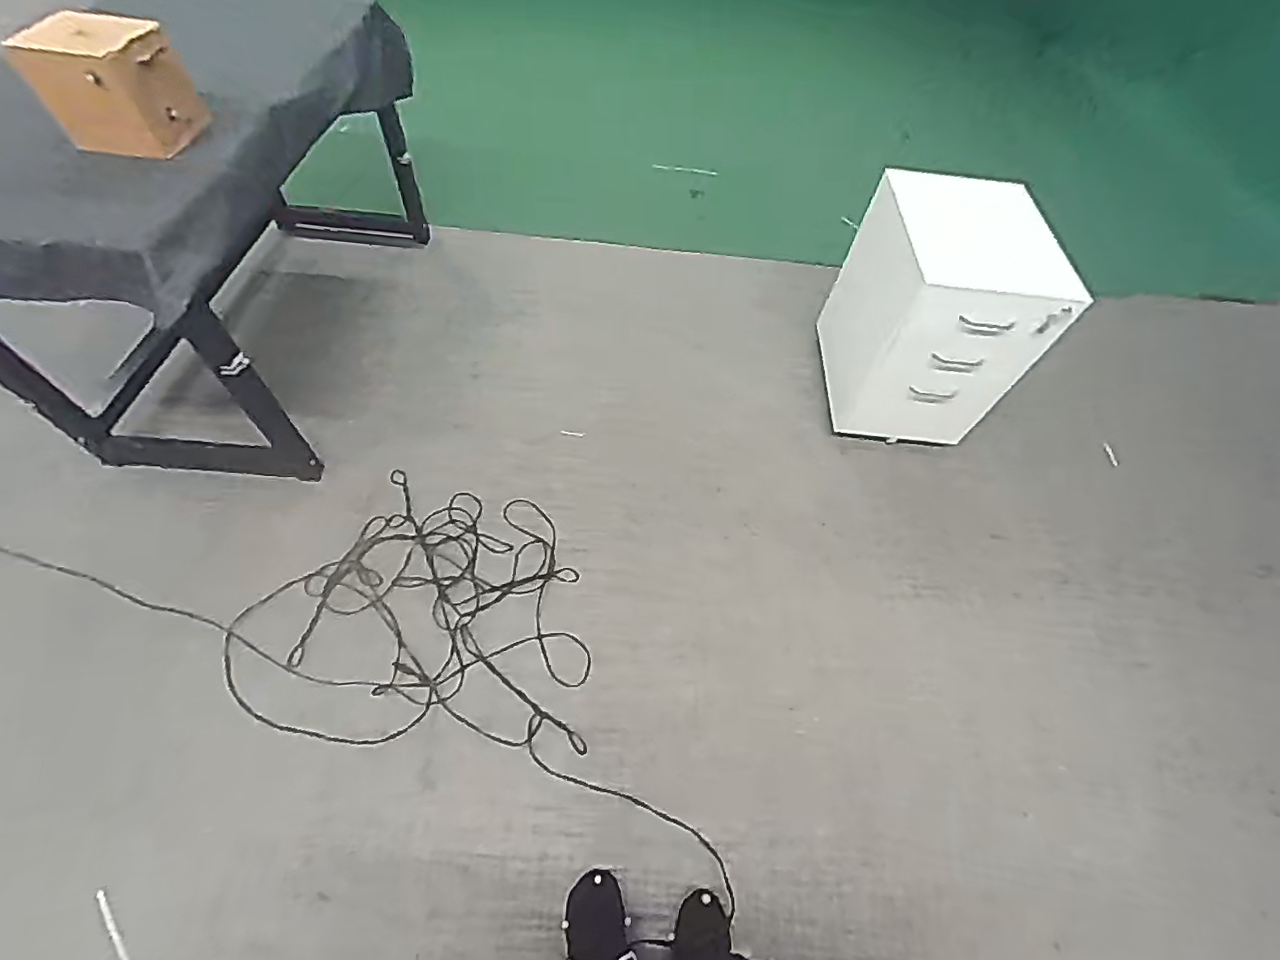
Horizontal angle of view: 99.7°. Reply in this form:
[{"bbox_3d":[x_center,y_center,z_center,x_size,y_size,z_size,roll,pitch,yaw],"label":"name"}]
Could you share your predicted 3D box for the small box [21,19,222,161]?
[{"bbox_3d":[-0.954,-0.730,1.018,0.179,0.176,0.168,6,55,-2],"label":"small box"}]
